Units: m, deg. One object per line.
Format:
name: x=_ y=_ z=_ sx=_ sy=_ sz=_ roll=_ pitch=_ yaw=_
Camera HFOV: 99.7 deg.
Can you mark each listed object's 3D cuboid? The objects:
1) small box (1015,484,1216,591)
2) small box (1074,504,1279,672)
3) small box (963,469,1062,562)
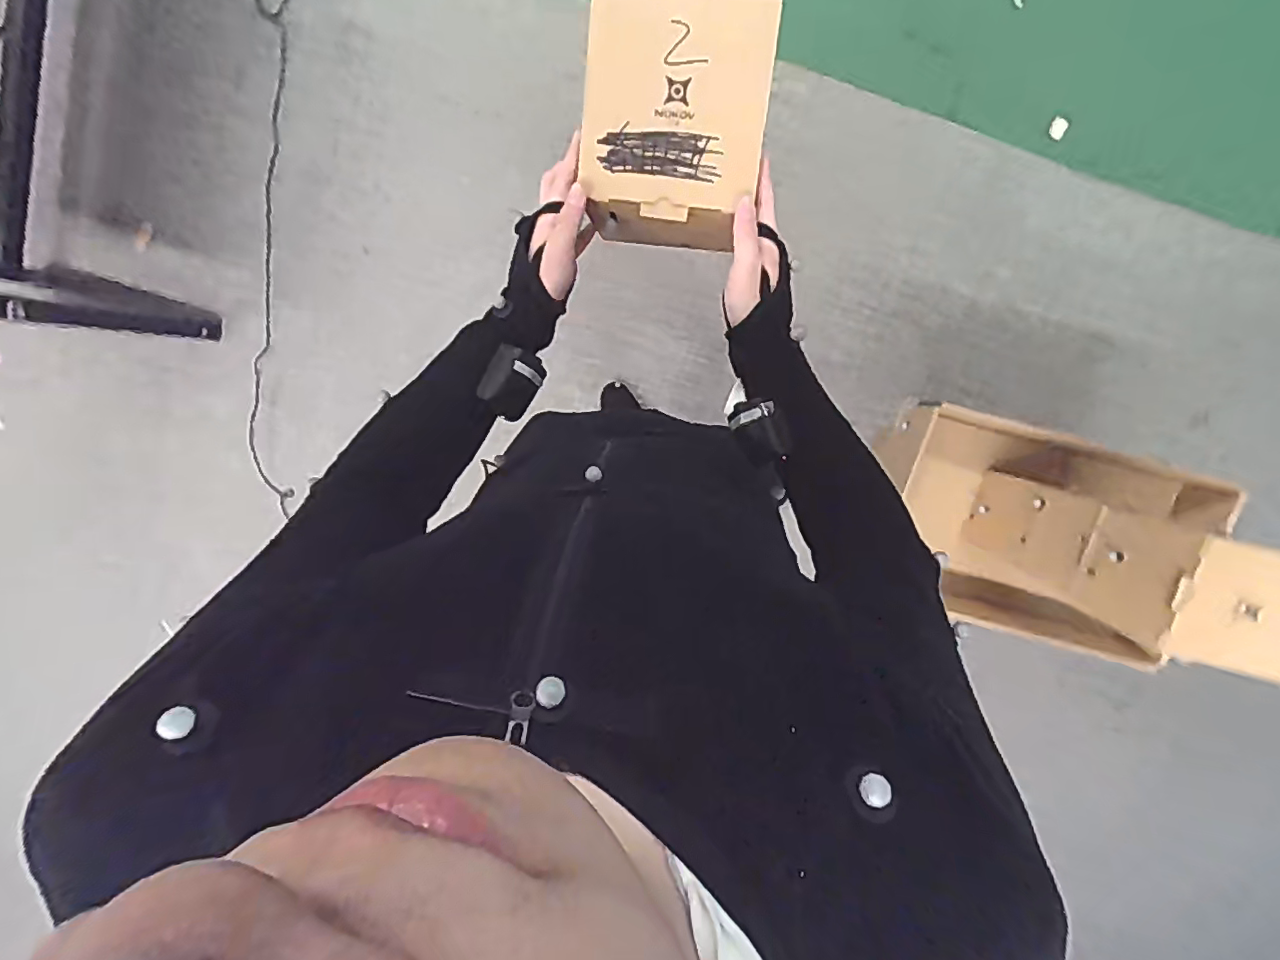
small box: x=0.803 y=0.113 z=0.935 sx=0.179 sy=0.176 sz=0.168 roll=13 pitch=101 yaw=-2
small box: x=0.793 y=0.144 z=0.776 sx=0.179 sy=0.176 sz=0.168 roll=13 pitch=101 yaw=0
small box: x=0.807 y=0.084 z=1.096 sx=0.179 sy=0.176 sz=0.168 roll=16 pitch=100 yaw=-1
